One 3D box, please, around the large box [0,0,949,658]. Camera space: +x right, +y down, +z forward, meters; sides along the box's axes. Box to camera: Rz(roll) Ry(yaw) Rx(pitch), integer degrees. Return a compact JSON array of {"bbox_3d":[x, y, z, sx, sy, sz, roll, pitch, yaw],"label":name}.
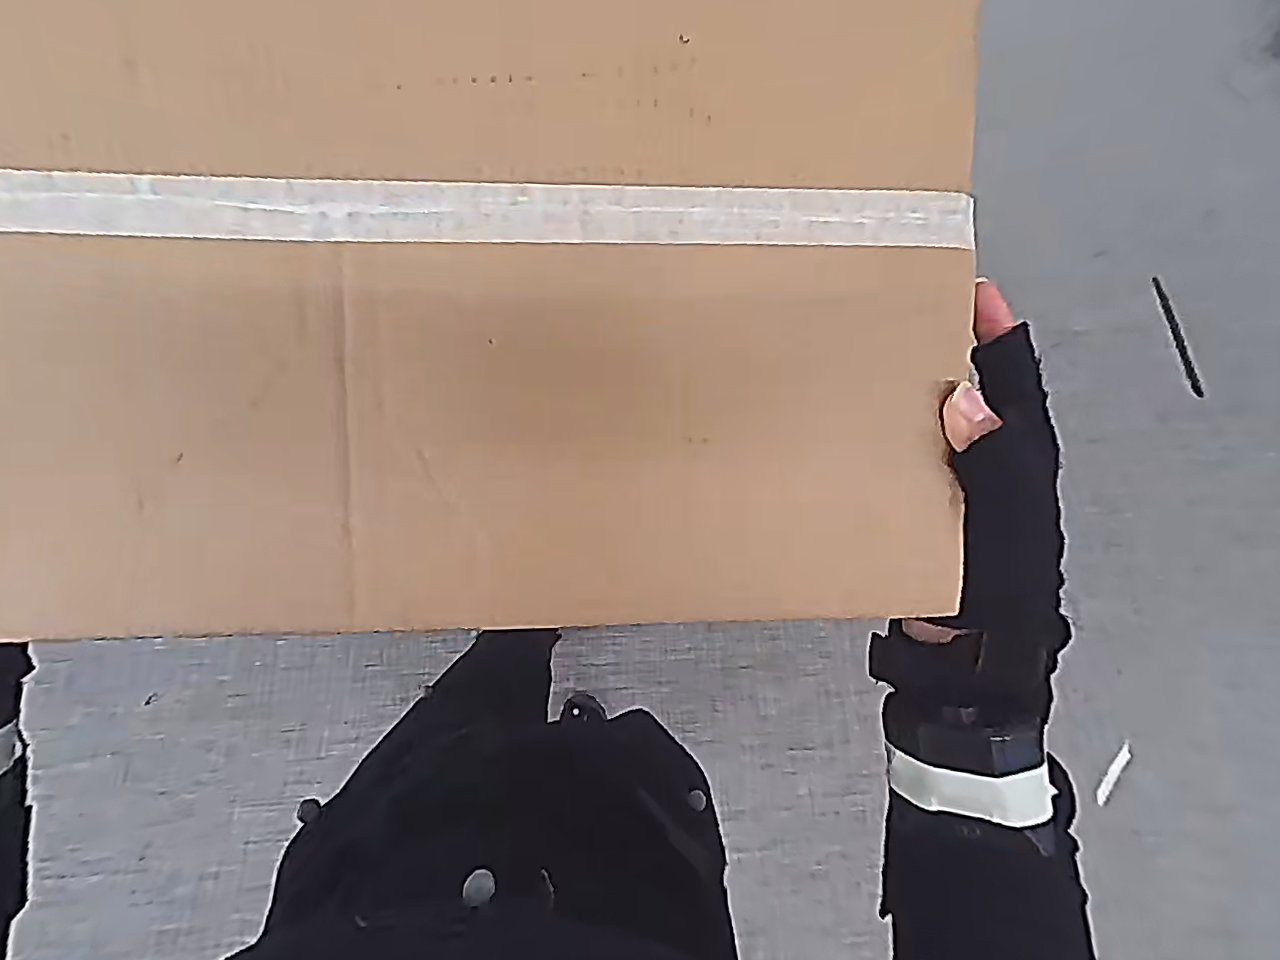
[{"bbox_3d":[-0.083,-0.099,0.357,0.408,0.320,0.320,-1,93,-4],"label":"large box"}]
